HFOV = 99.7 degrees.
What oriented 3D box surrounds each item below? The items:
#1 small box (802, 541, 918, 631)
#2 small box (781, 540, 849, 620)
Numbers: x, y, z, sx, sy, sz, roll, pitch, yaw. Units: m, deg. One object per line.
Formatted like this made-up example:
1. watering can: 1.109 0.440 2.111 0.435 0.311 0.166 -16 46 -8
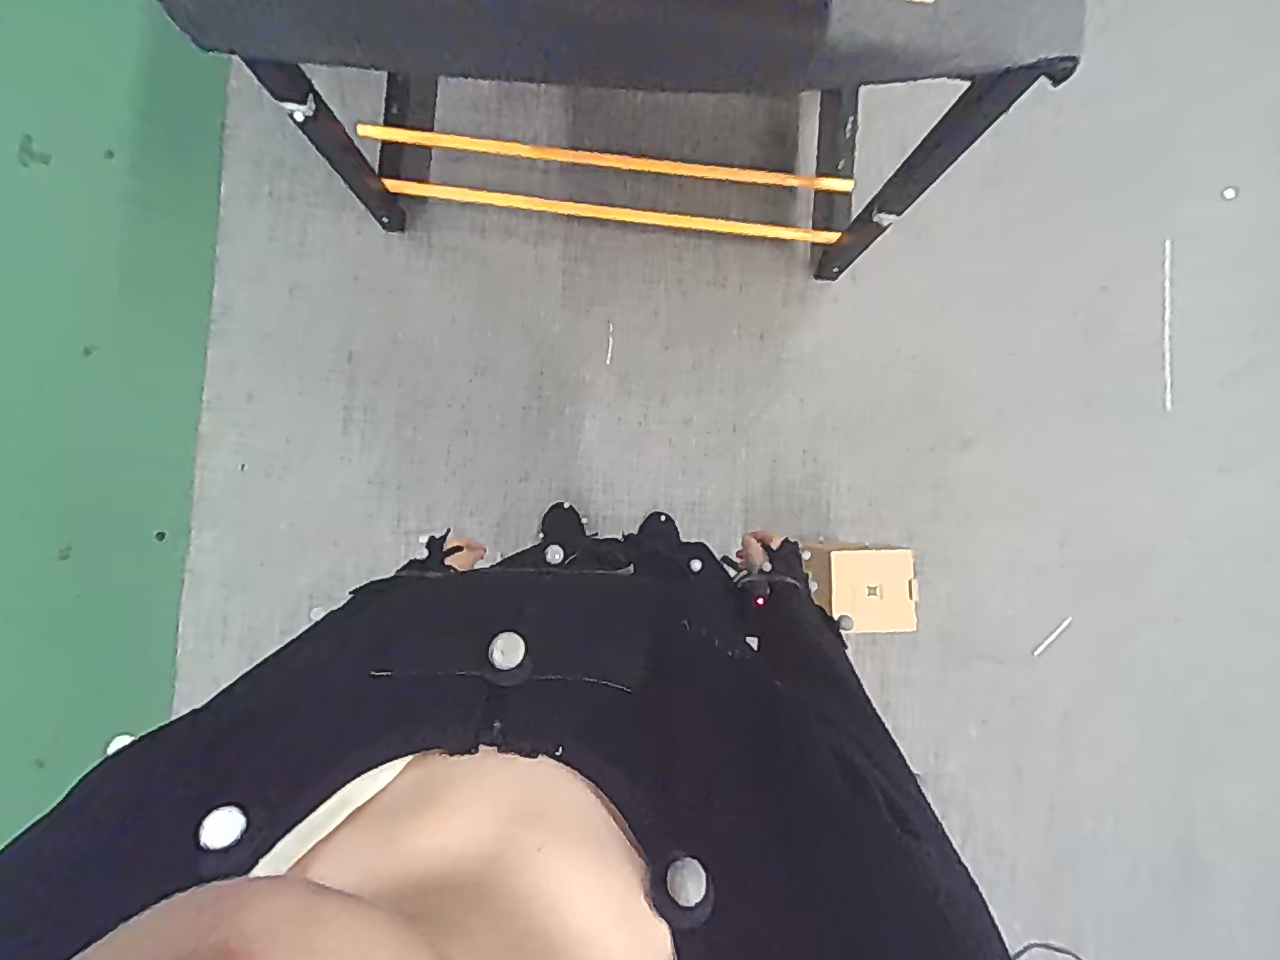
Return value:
1. small box: 0.464 0.220 1.157 0.179 0.176 0.168 -2 87 -3
2. small box: 0.449 0.238 1.319 0.168 0.176 0.179 -1 87 -3
